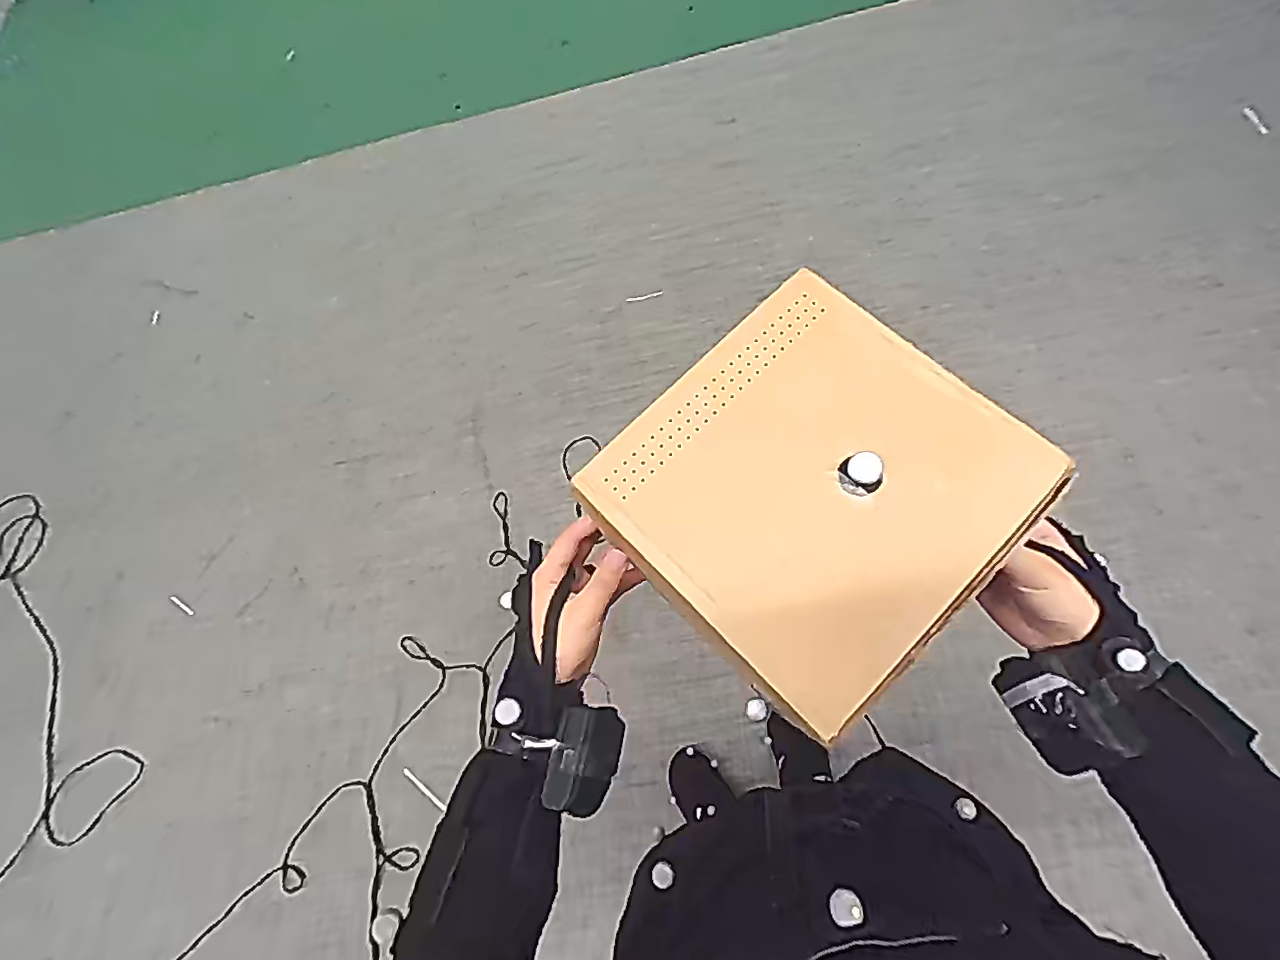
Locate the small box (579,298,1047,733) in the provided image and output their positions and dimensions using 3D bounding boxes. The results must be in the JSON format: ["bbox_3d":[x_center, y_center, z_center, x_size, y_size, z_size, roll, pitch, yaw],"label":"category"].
[{"bbox_3d":[0.089,0.022,0.346,0.179,0.168,0.176,-44,73,-9],"label":"small box"}]
